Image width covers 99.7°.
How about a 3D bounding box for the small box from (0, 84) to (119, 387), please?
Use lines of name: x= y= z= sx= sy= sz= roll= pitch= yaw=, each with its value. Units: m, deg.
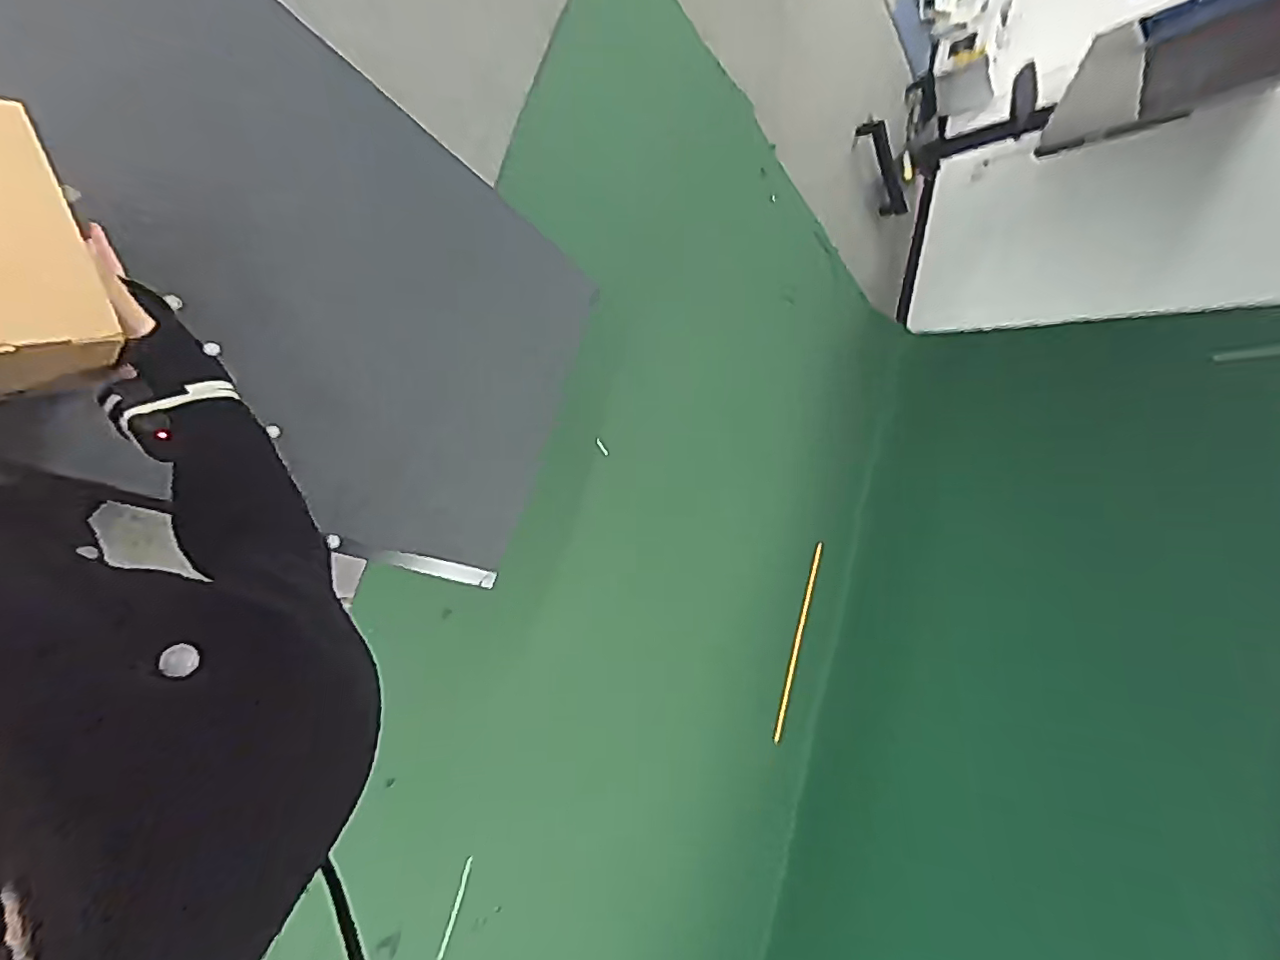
small box: x=-0.527 y=-0.166 z=0.388 sx=0.168 sy=0.176 sz=0.179 roll=-26 pitch=104 yaw=-48
